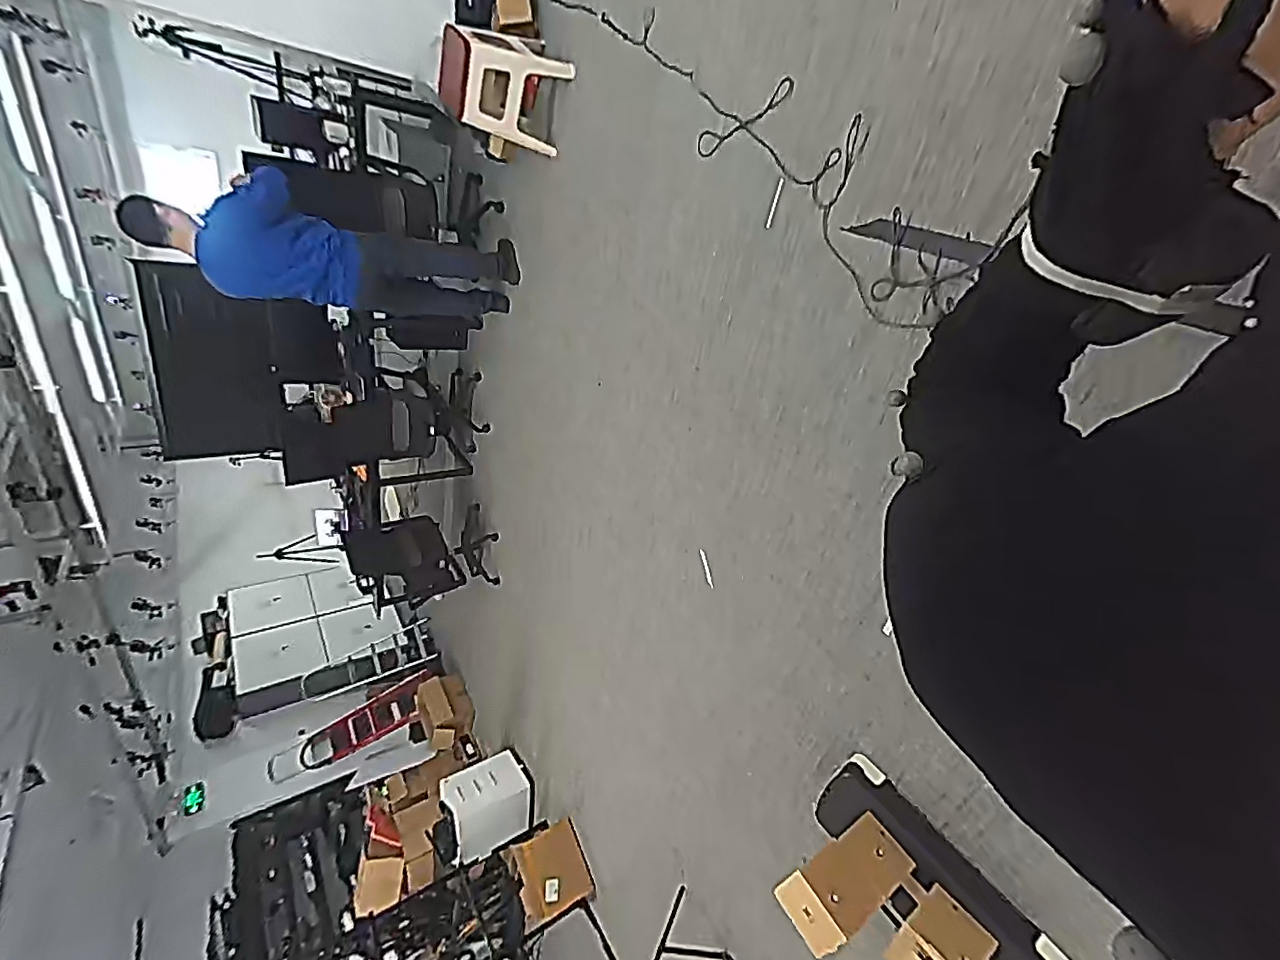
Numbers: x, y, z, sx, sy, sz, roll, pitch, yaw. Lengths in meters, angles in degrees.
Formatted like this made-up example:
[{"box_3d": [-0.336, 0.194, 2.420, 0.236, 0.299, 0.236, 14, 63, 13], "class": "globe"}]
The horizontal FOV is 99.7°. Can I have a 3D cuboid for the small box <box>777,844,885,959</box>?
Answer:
[{"box_3d": [0.513, 1.126, 1.458, 0.179, 0.176, 0.168, 48, 133, 35], "class": "small box"}]

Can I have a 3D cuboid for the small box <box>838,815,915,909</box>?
[{"box_3d": [0.650, 1.107, 1.545, 0.168, 0.176, 0.179, 46, 133, 38], "class": "small box"}]
